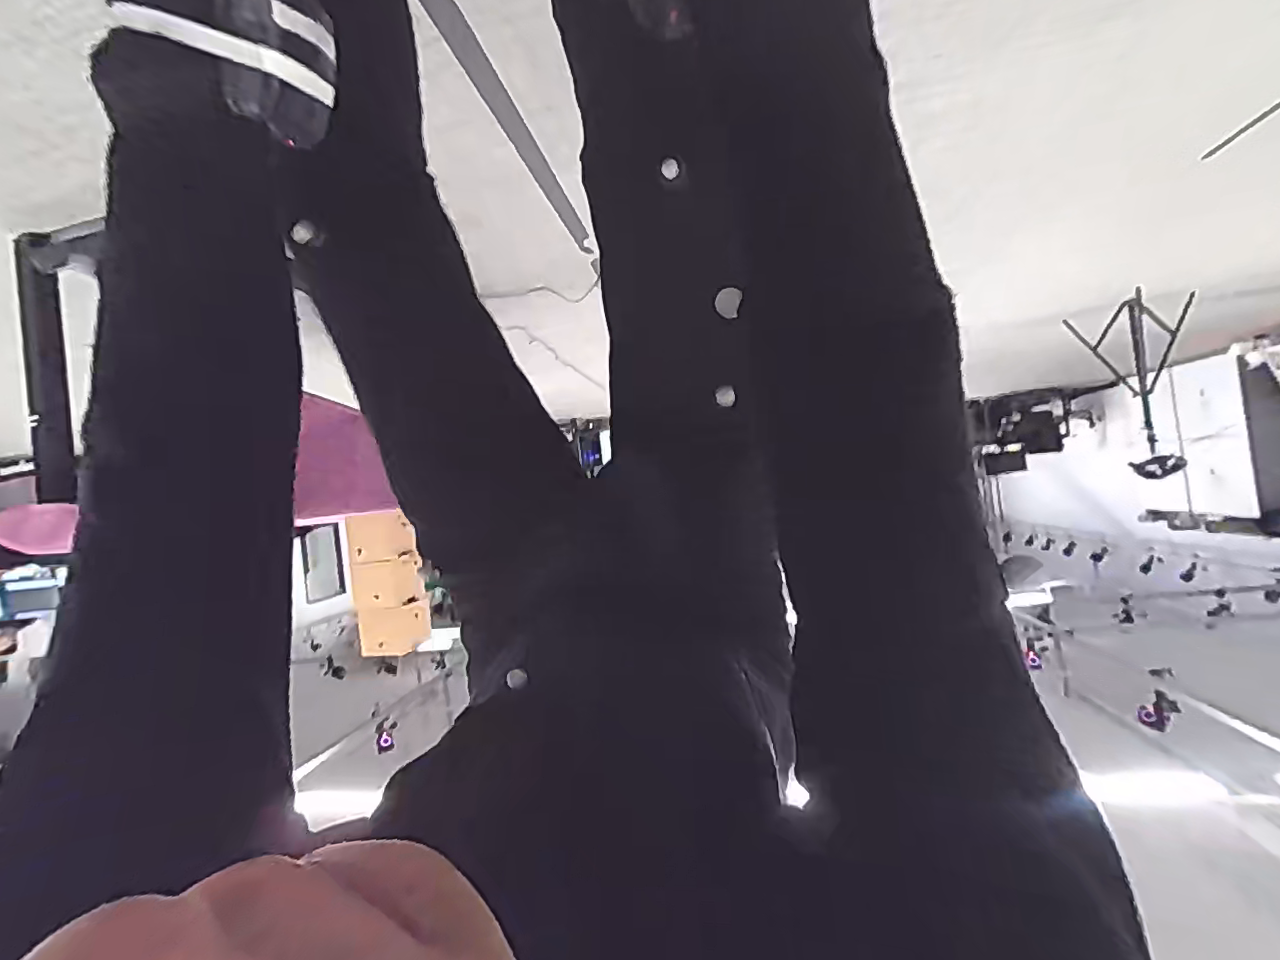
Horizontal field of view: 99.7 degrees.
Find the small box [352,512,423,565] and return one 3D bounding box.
[{"bbox_3d":[-0.913,0.207,1.951,0.179,0.176,0.168,-8,179,11],"label":"small box"}]

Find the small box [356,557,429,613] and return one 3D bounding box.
[{"bbox_3d":[-0.892,0.370,1.948,0.179,0.176,0.168,-7,178,15],"label":"small box"}]

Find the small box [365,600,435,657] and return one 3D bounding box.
[{"bbox_3d":[-0.872,0.532,1.959,0.179,0.176,0.168,-8,178,19],"label":"small box"}]
